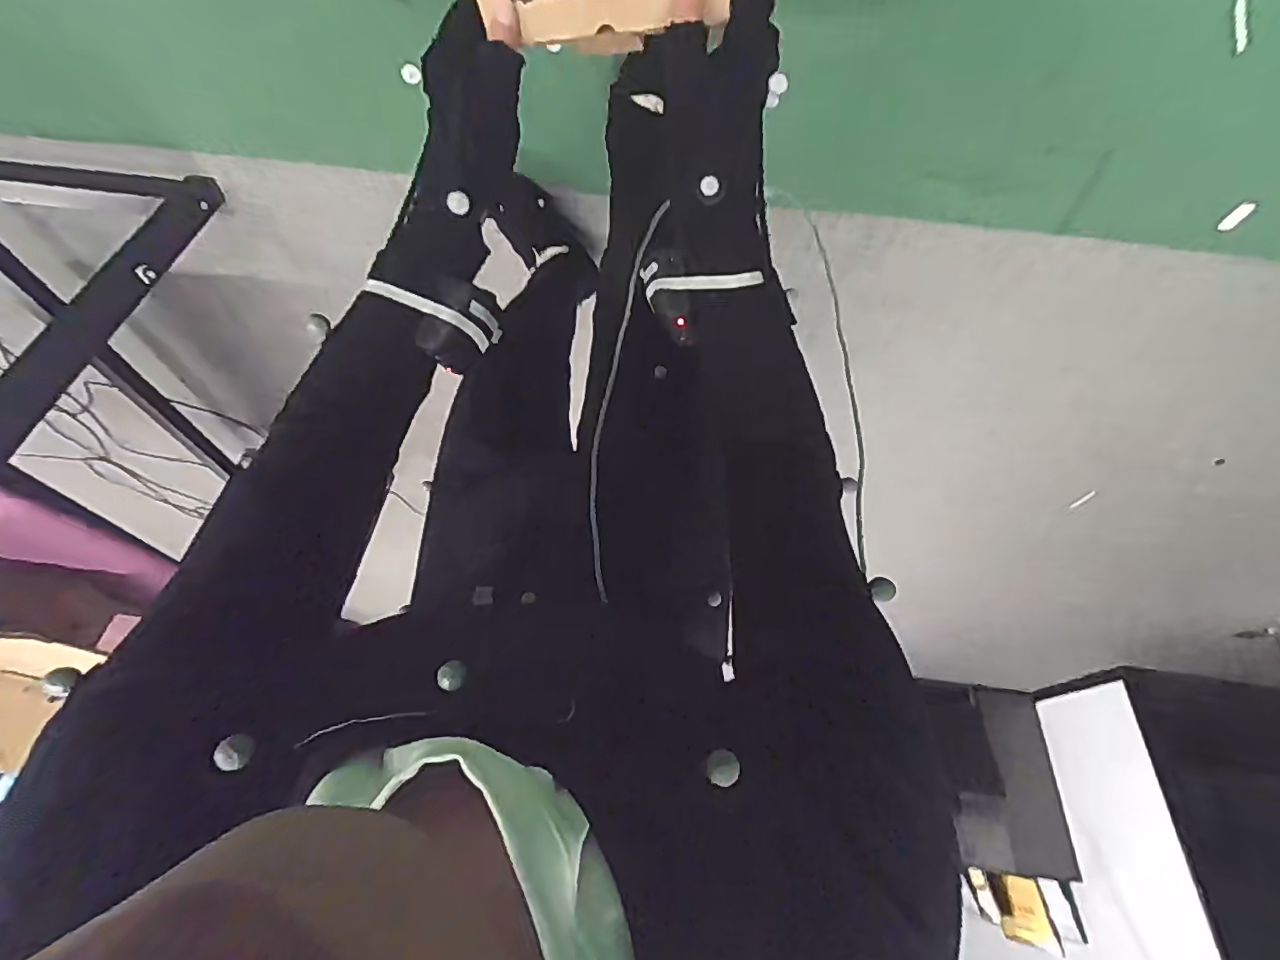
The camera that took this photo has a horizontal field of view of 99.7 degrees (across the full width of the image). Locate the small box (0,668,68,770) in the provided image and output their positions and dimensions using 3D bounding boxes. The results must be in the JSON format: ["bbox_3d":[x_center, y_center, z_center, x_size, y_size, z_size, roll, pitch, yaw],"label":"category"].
[{"bbox_3d":[-1.301,0.460,1.061,0.179,0.176,0.168,10,148,0],"label":"small box"}]
